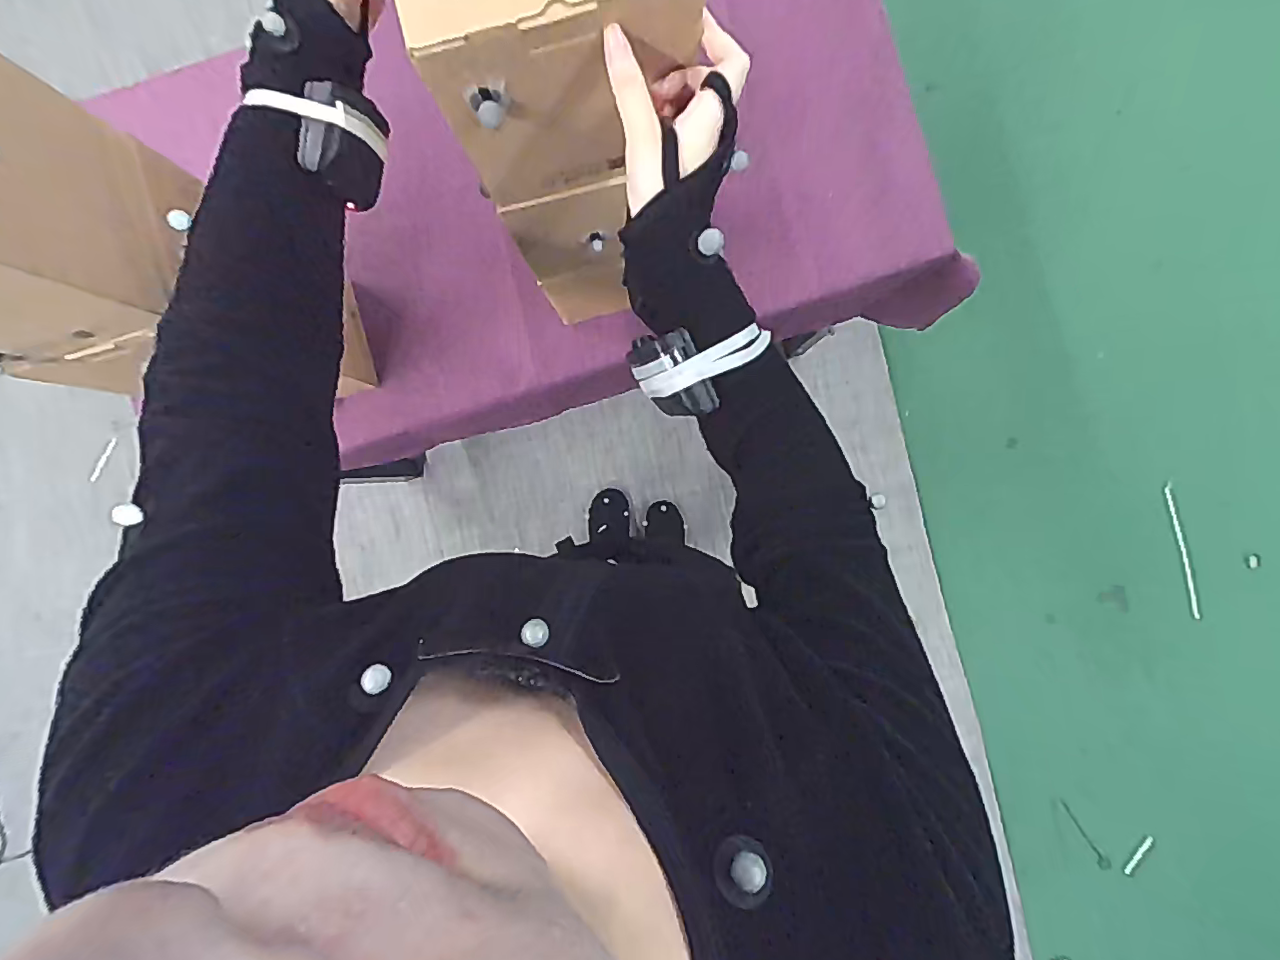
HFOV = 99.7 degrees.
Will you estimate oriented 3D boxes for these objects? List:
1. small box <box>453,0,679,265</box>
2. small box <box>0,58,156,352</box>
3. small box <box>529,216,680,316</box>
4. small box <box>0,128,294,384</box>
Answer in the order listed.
[{"bbox_3d":[-0.058,-0.329,0.530,0.168,0.176,0.179,-12,91,1],"label":"small box"},{"bbox_3d":[-0.503,-0.202,0.382,0.168,0.176,0.179,-17,90,1],"label":"small box"},{"bbox_3d":[-0.052,-0.327,0.694,0.179,0.176,0.168,-14,91,2],"label":"small box"},{"bbox_3d":[-0.491,-0.202,0.546,0.168,0.176,0.179,-13,90,1],"label":"small box"}]
